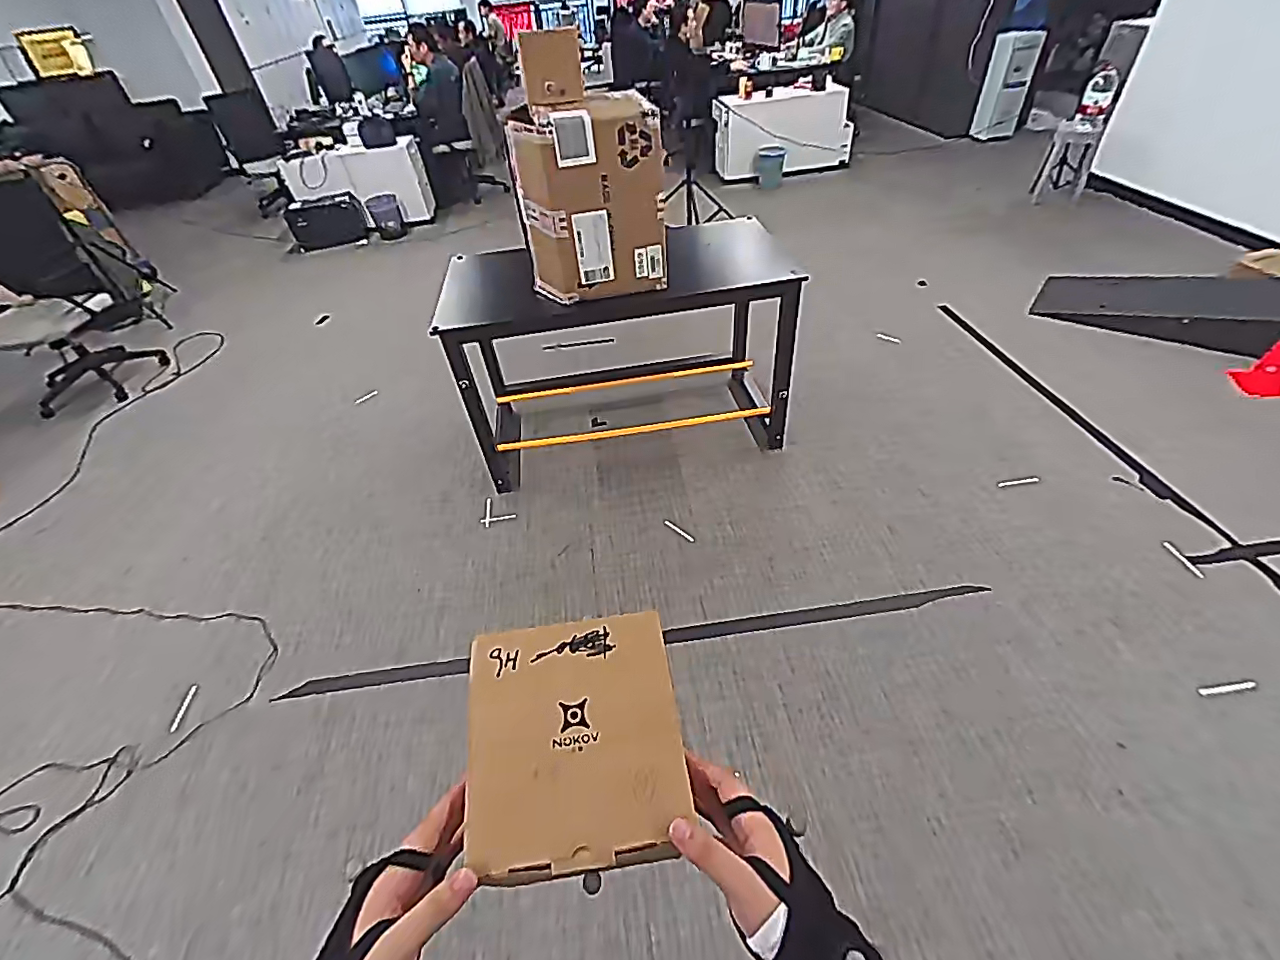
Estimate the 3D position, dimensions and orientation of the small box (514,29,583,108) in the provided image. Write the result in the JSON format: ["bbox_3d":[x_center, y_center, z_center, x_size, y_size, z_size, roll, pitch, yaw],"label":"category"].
[{"bbox_3d":[-0.265,-1.197,1.574,0.168,0.176,0.179,-12,42,-7],"label":"small box"}]
